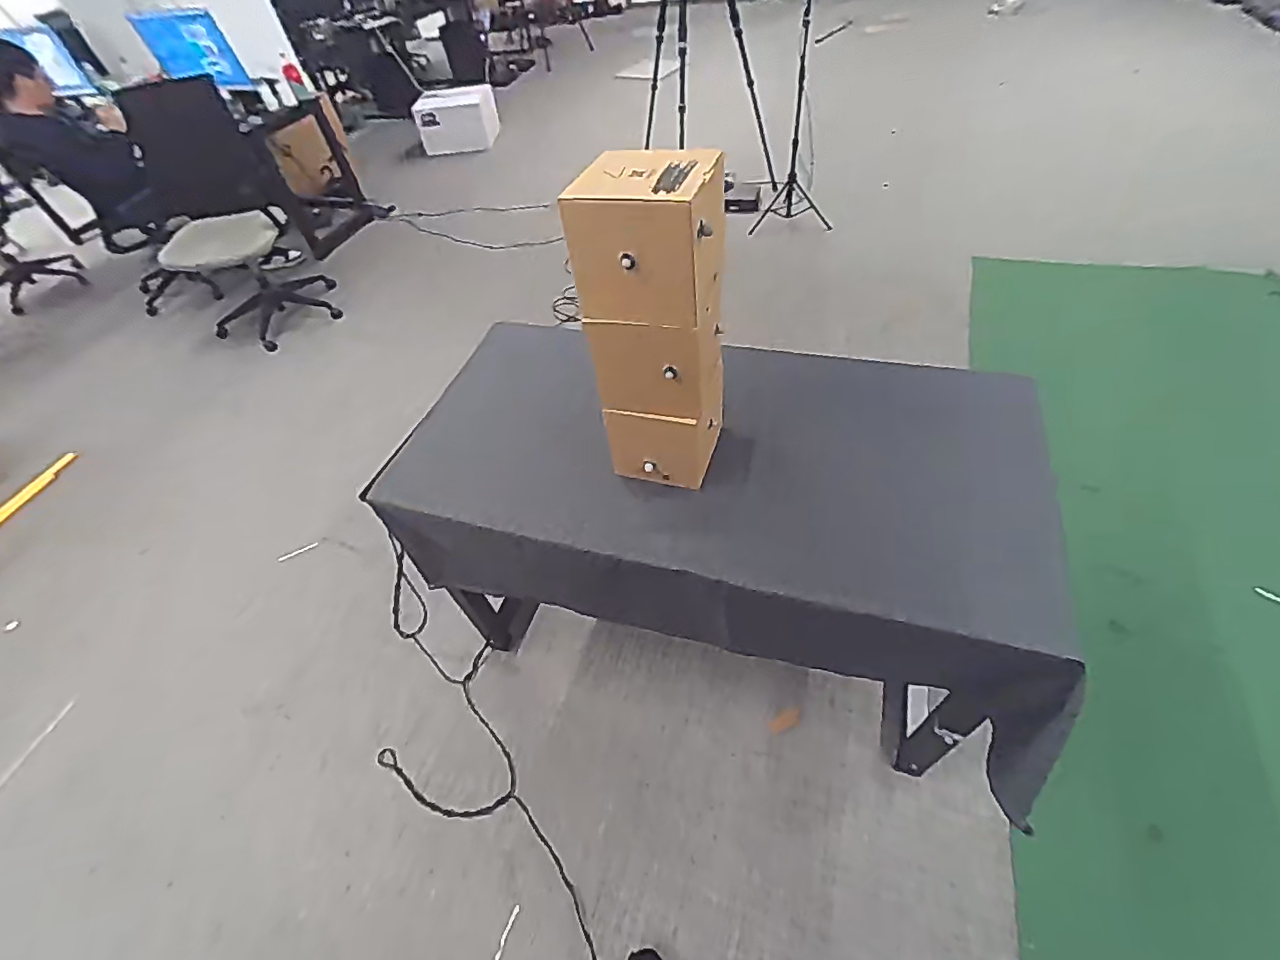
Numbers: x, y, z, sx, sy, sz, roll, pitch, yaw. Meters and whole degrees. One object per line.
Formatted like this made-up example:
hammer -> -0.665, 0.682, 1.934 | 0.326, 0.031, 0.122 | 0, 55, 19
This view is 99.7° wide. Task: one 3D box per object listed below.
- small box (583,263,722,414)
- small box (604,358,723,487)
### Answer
small box -> 0.030, -0.225, 0.870 | 0.179, 0.176, 0.168 | 9, 50, 16
small box -> 0.050, -0.115, 0.989 | 0.168, 0.176, 0.179 | 11, 52, 17
